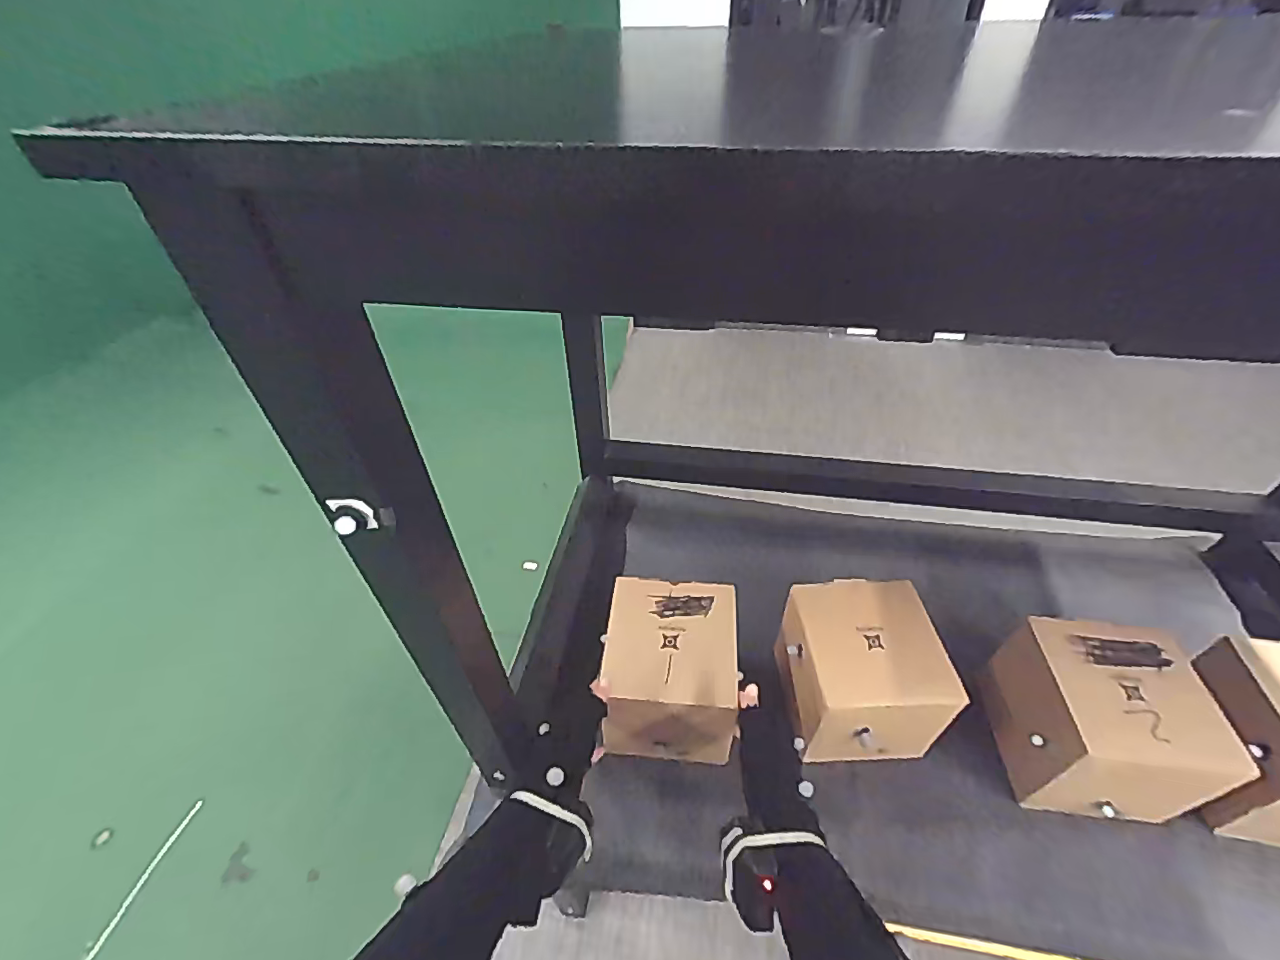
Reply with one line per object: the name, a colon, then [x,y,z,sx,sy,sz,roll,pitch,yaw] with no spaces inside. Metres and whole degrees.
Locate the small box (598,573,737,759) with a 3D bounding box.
small box: [0.041,0.252,0.740,0.168,0.176,0.179,3,43,6]
